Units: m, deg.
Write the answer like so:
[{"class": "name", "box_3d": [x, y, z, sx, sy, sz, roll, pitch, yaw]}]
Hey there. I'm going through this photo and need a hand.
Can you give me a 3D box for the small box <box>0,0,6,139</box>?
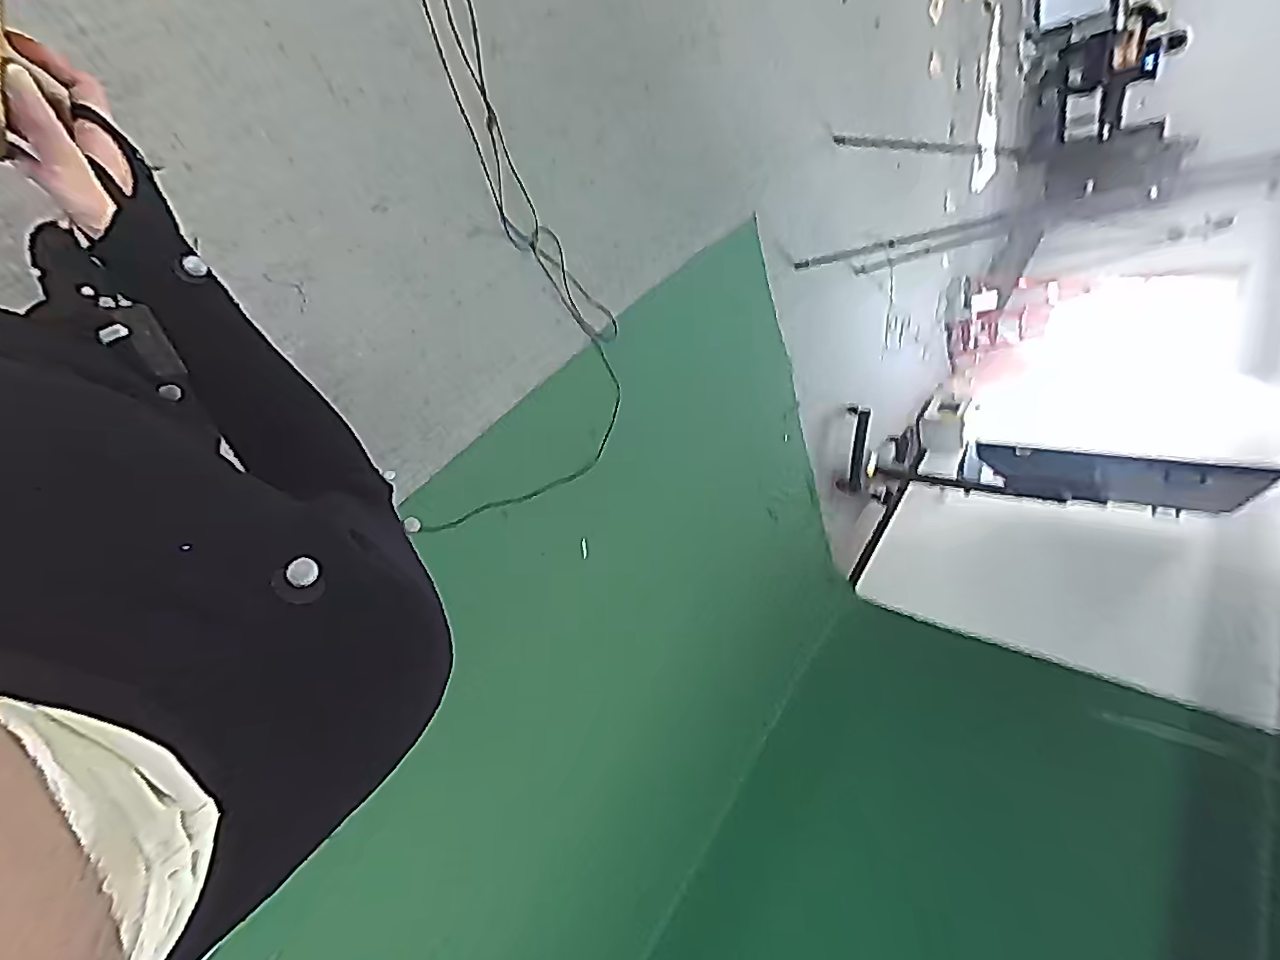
[{"class": "small box", "box_3d": [-0.488, -0.328, 0.305, 0.168, 0.176, 0.179, -2, 103, -49]}]
